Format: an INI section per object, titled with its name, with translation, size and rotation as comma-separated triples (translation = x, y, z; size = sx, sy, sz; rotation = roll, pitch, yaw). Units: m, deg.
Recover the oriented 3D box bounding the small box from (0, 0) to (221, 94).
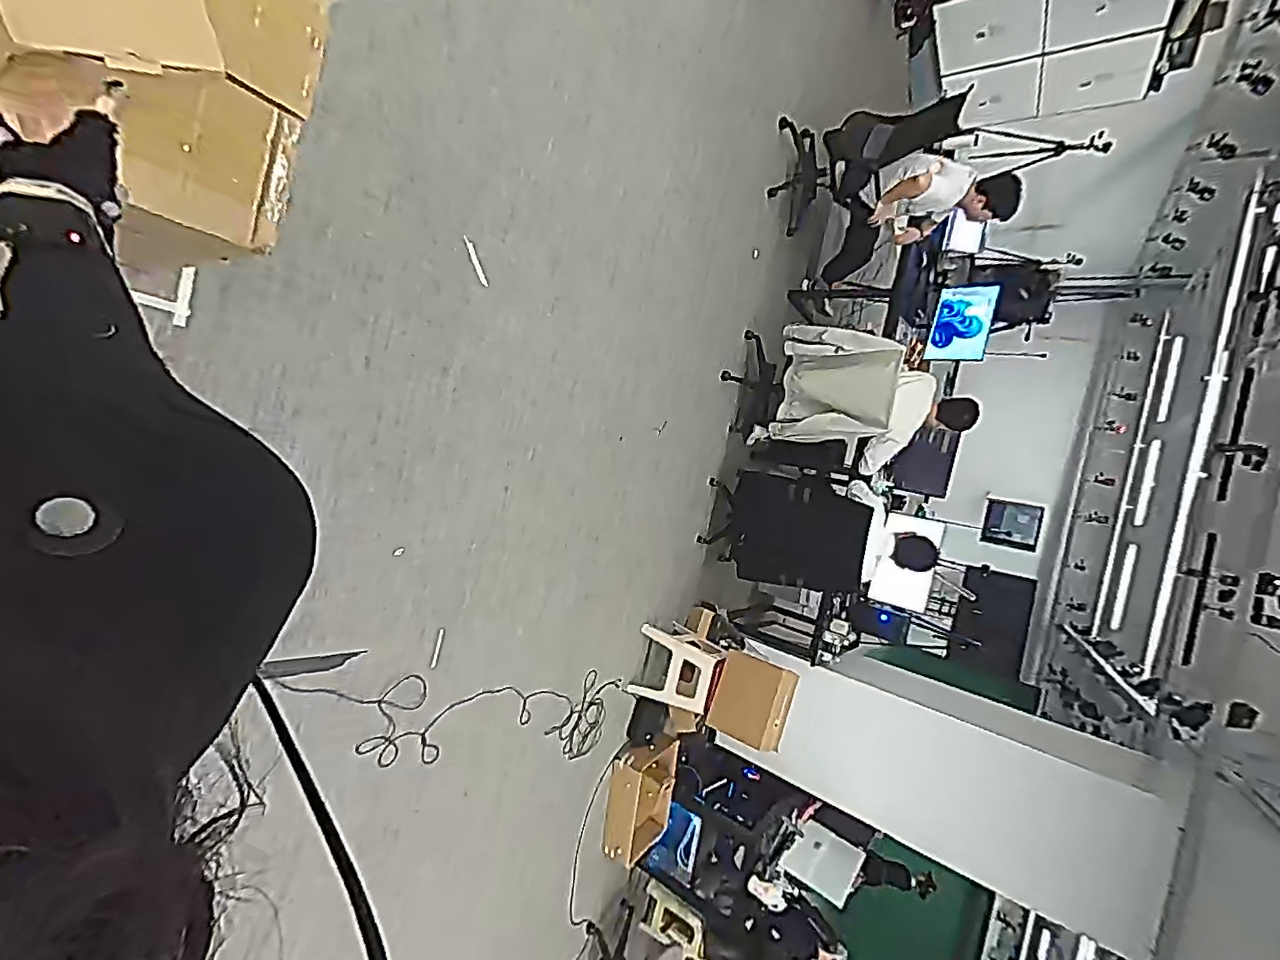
[small box]
translation = -0.565, -0.506, 0.535
size = 0.168, 0.176, 0.179
rotation = -32, 127, -45
